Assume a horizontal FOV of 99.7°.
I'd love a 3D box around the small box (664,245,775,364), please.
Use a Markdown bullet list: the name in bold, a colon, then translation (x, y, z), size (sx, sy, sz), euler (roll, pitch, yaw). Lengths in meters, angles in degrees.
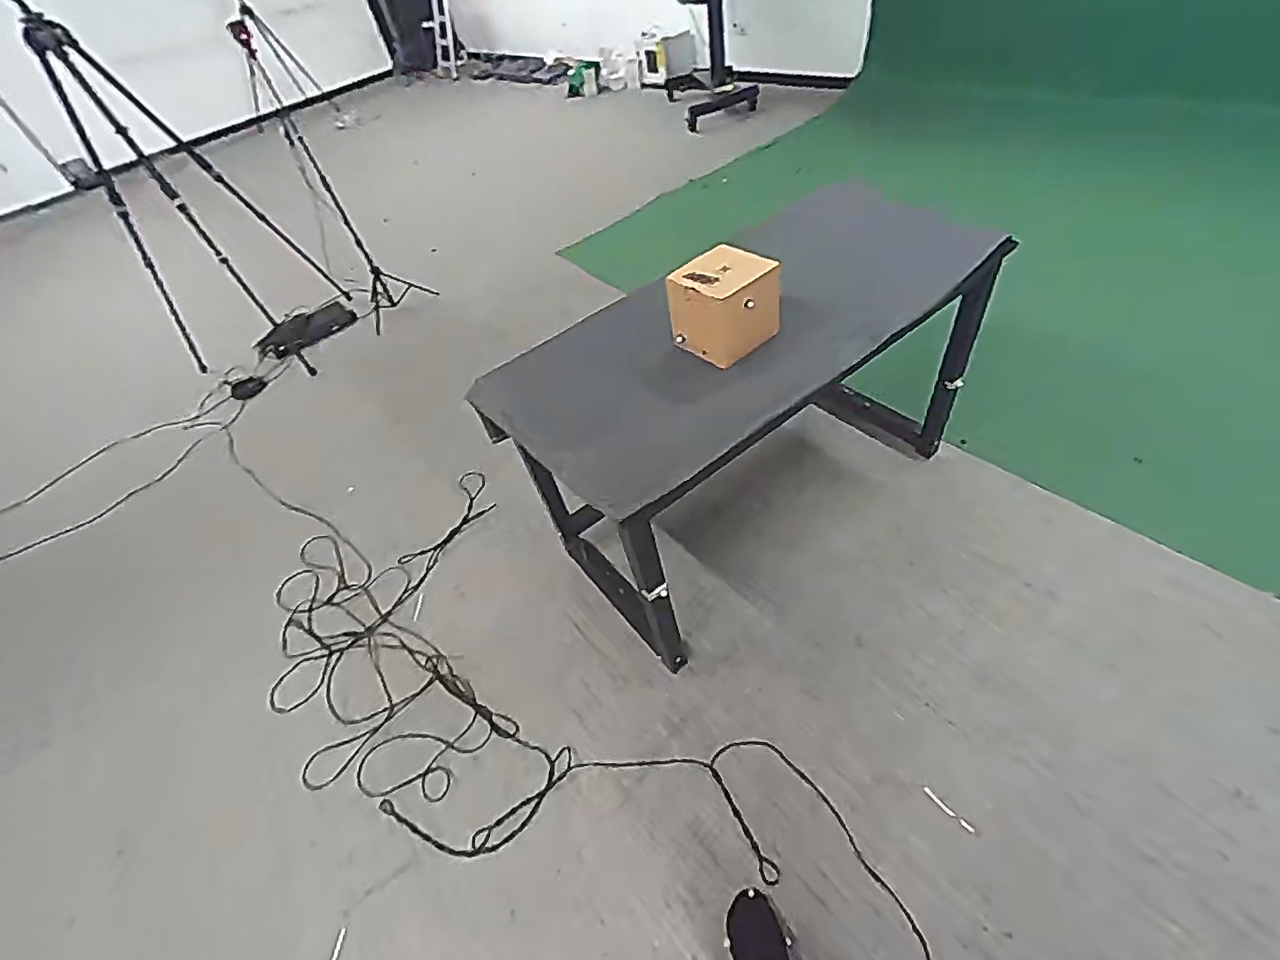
- **small box**: translation (0.179, -0.381, 1.182), size (0.179, 0.176, 0.168), euler (-37, 51, -20)
